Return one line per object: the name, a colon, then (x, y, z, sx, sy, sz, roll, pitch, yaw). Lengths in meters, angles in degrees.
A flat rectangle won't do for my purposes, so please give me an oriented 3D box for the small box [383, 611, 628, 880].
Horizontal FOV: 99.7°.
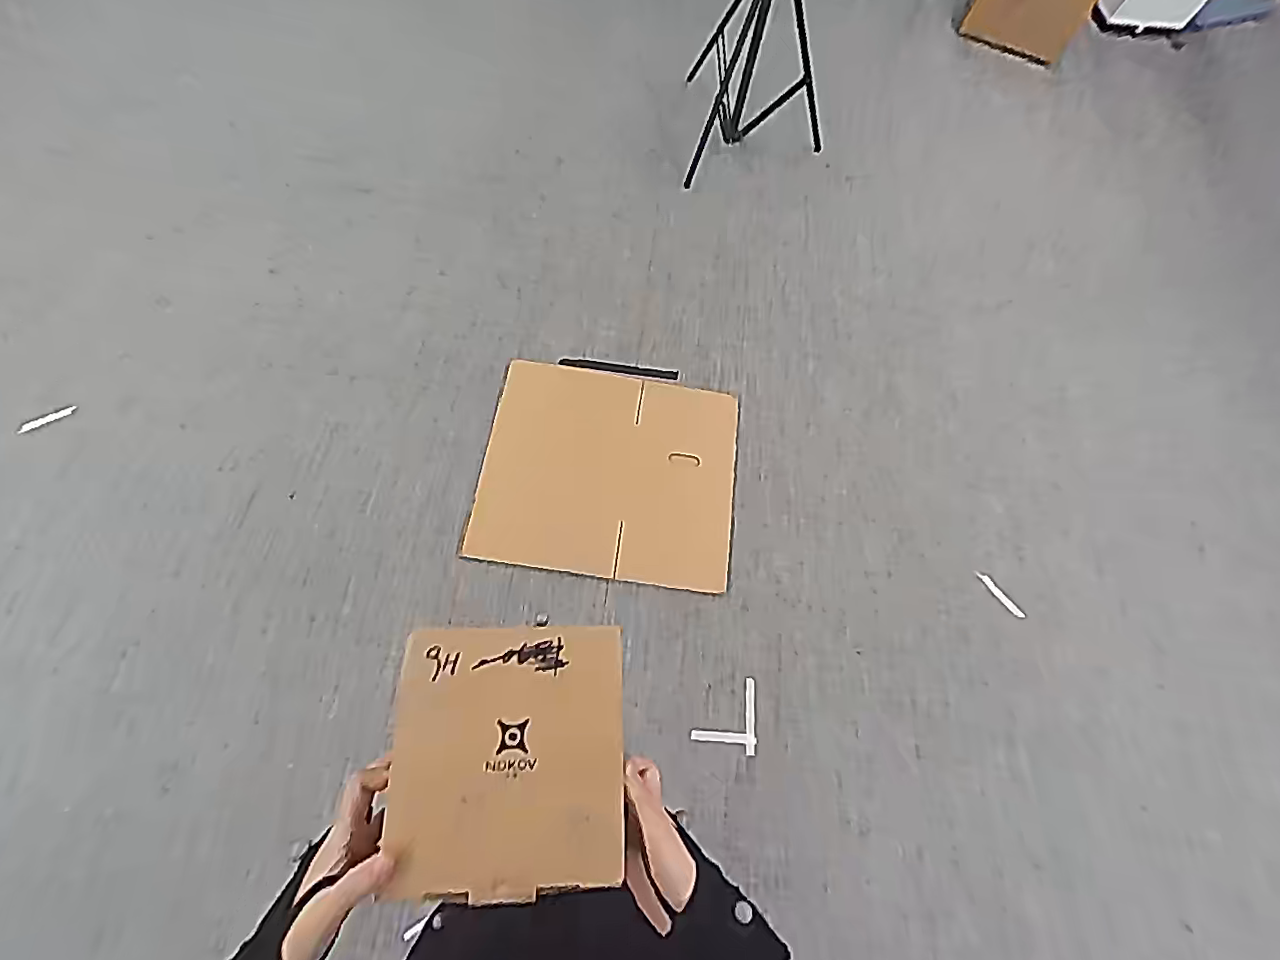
small box: (-0.100, 0.213, 0.468, 0.168, 0.176, 0.179, 2, 68, -7)
